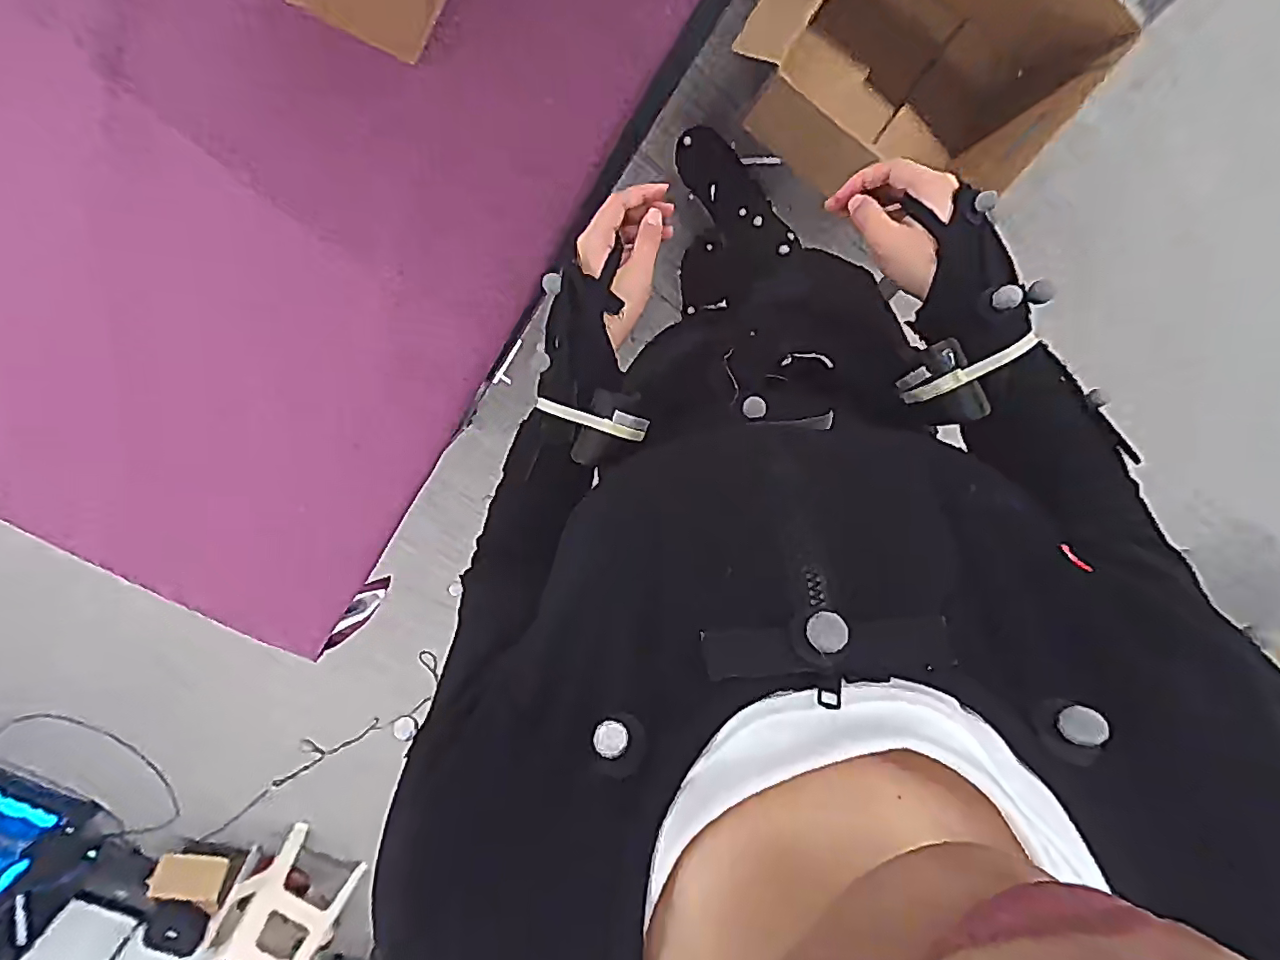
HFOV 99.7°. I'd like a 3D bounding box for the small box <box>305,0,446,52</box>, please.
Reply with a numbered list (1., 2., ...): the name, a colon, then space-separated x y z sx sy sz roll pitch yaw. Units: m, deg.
1. small box: -0.222 -0.435 0.355 0.179 0.176 0.168 38 114 -13
